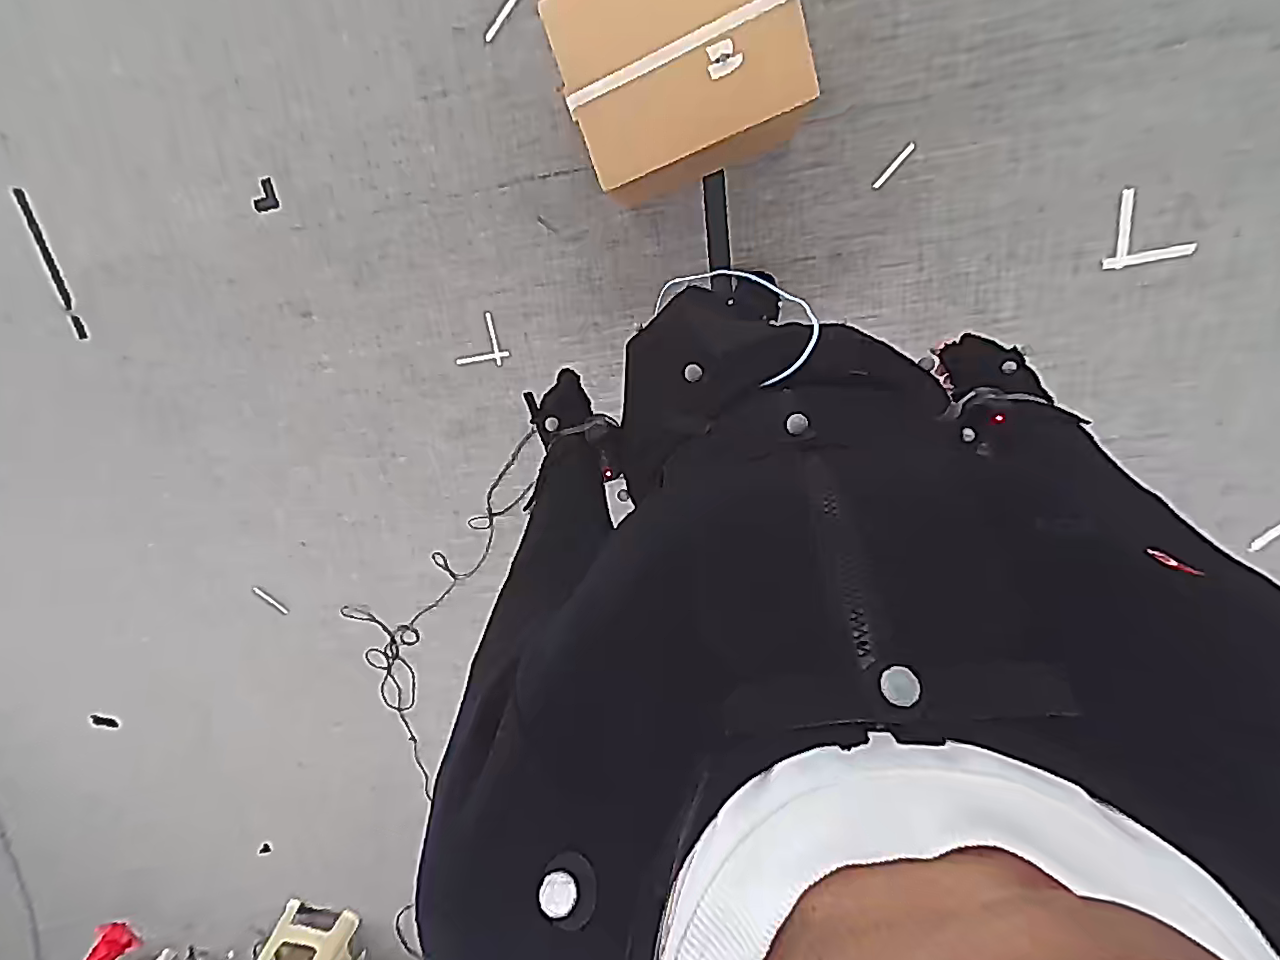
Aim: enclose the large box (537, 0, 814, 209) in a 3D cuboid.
[{"bbox_3d":[0.075,-0.779,1.051,0.408,0.320,0.320,-17,108,13],"label":"large box"}]
